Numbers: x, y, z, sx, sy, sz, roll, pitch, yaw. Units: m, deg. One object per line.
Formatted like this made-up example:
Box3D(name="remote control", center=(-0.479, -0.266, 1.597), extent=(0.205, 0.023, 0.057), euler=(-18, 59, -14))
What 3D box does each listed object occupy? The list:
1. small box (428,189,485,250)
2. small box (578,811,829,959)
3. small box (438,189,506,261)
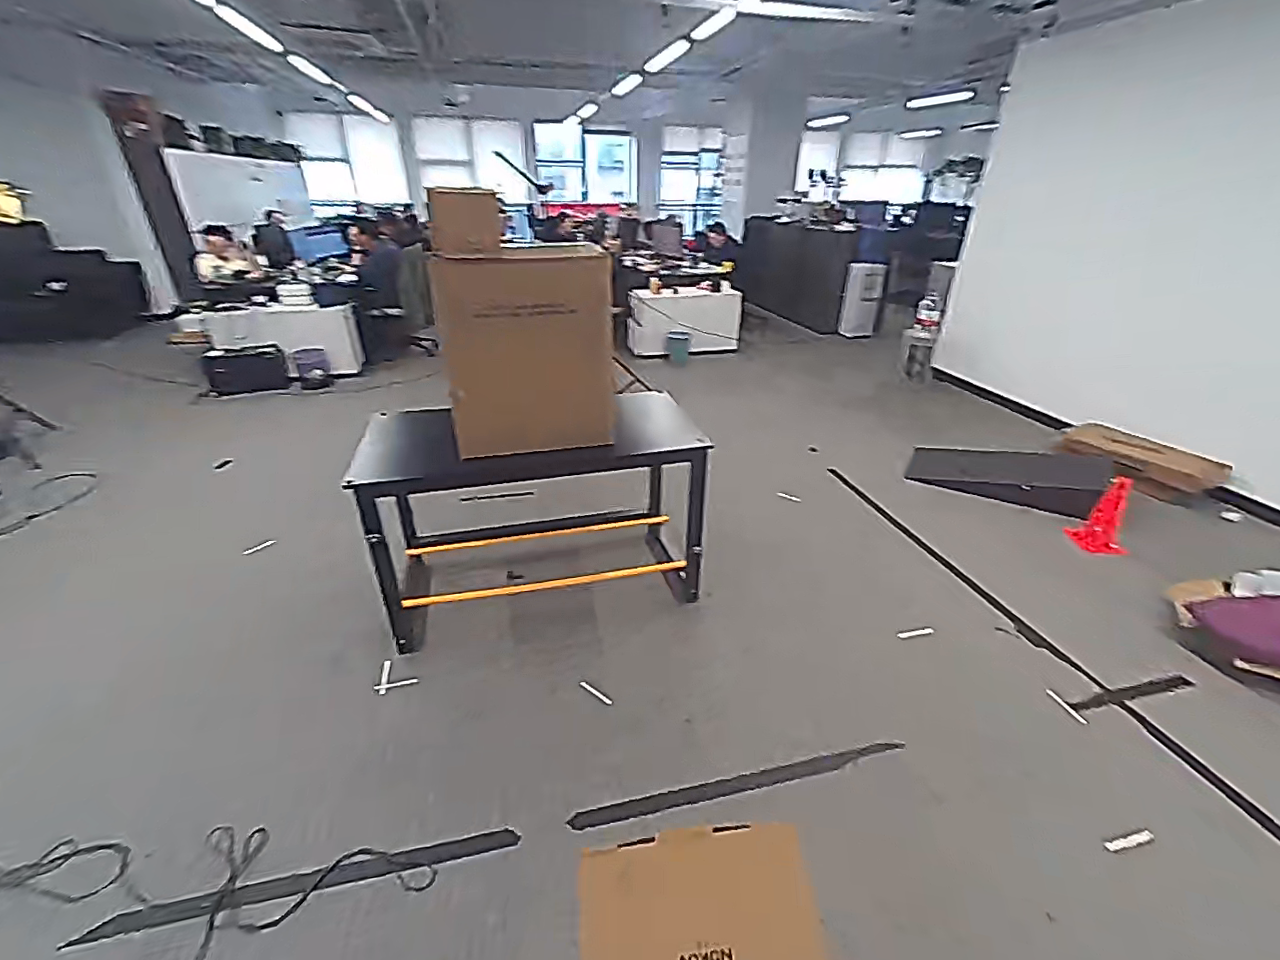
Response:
Box3D(name="small box", center=(-0.564, -0.814, 1.694), extent=(0.168, 0.176, 0.179), euler=(-8, 29, -17))
Box3D(name="small box", center=(0.046, 0.381, 0.401), extent=(0.168, 0.176, 0.179), euler=(-7, 42, -4))
Box3D(name="small box", center=(-0.479, -0.730, 1.544), extent=(0.168, 0.176, 0.179), euler=(-7, 33, -16))
